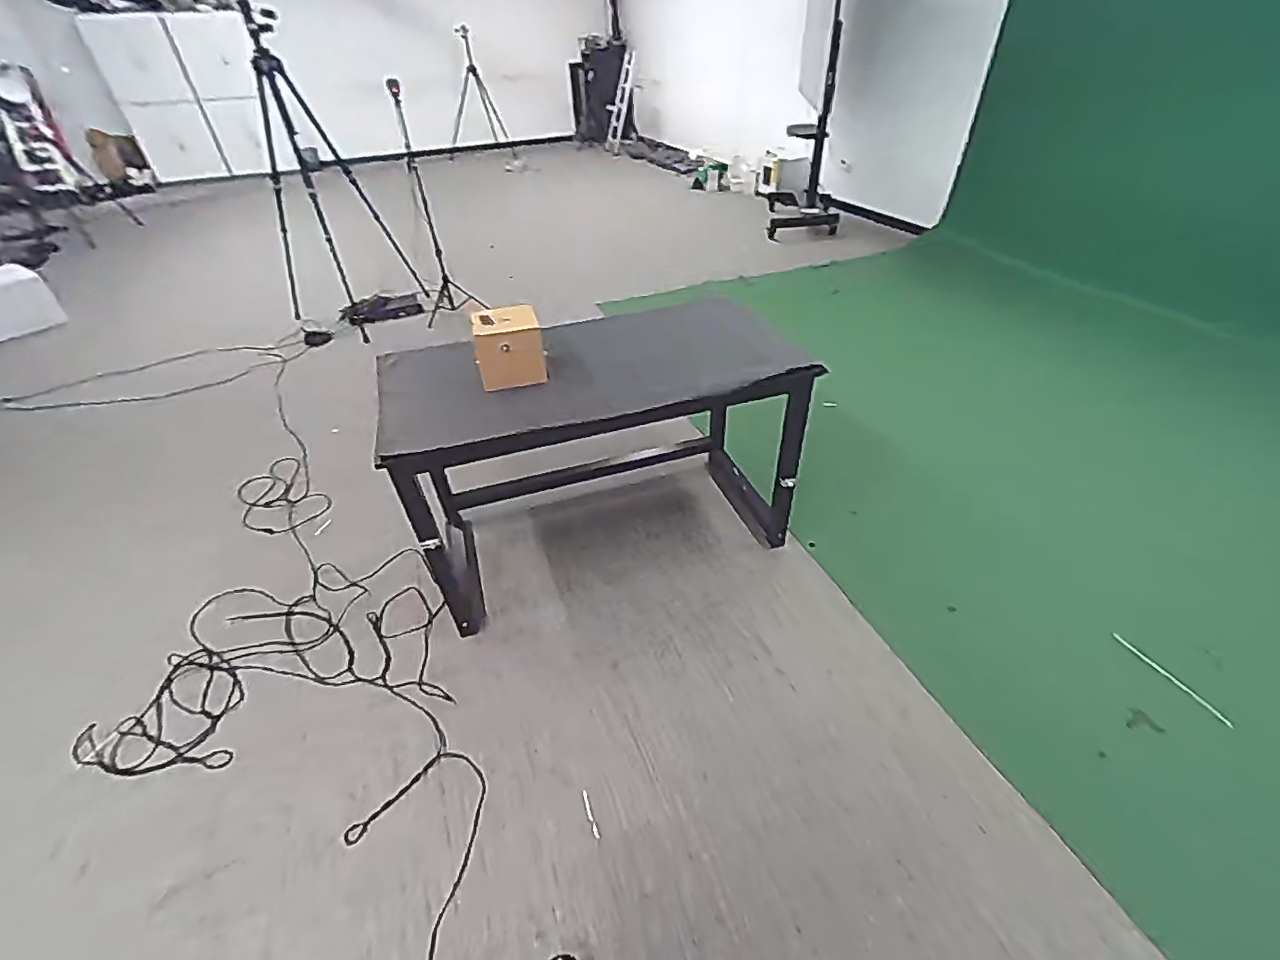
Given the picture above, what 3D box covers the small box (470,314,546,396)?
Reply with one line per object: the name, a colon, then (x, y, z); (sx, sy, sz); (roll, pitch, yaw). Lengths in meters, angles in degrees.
small box: (-0.373, -0.353, 1.537); (0.179, 0.176, 0.168); (-11, 40, -13)
